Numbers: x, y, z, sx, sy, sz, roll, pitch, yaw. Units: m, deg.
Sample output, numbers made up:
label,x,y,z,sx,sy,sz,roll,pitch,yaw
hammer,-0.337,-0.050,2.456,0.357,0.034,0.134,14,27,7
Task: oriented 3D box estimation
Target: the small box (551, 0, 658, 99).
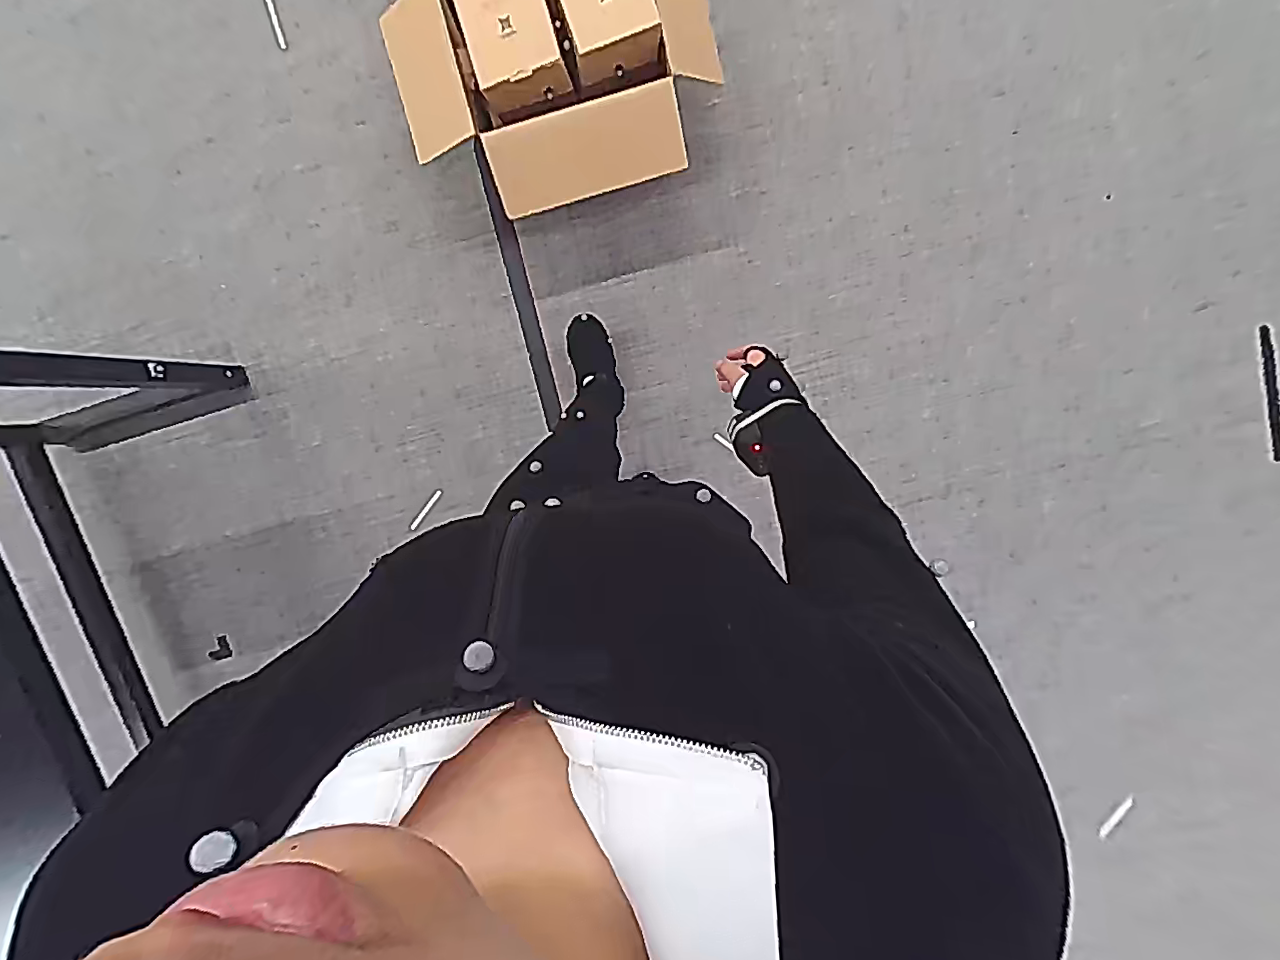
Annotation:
label,x,y,z,sx,sy,sz,roll,pitch,yaw
small box,-0.071,-0.898,1.069,0.168,0.176,0.179,-21,98,0
